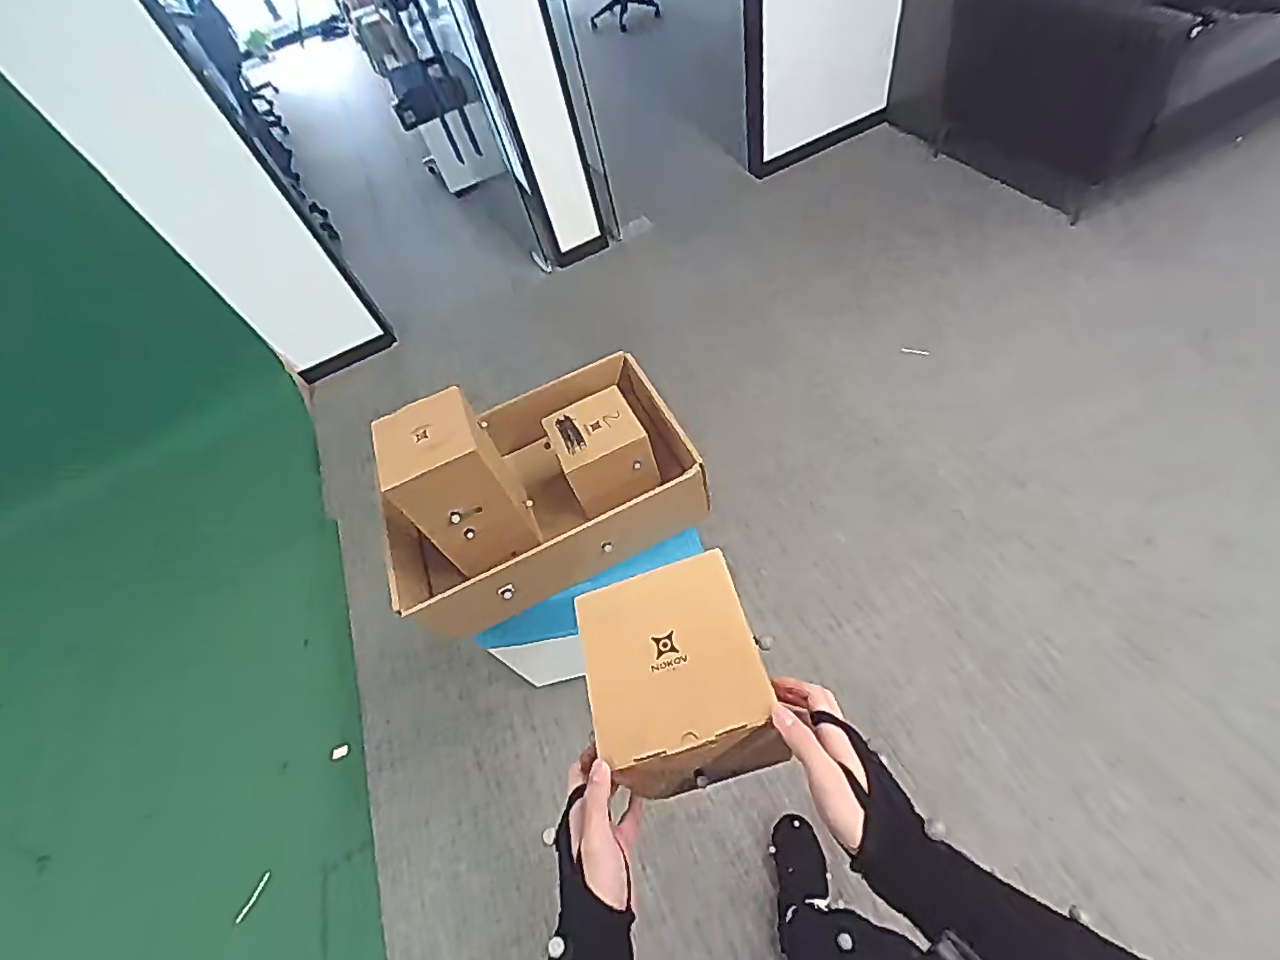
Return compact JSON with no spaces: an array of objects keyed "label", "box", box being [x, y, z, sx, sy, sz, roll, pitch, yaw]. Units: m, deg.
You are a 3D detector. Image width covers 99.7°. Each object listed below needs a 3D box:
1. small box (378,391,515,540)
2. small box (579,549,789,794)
[{"label":"small box","box":[-0.348,-0.023,0.981,0.168,0.176,0.179,-25,53,-5]},{"label":"small box","box":[0.048,0.207,0.575,0.168,0.176,0.179,-19,50,4]}]
